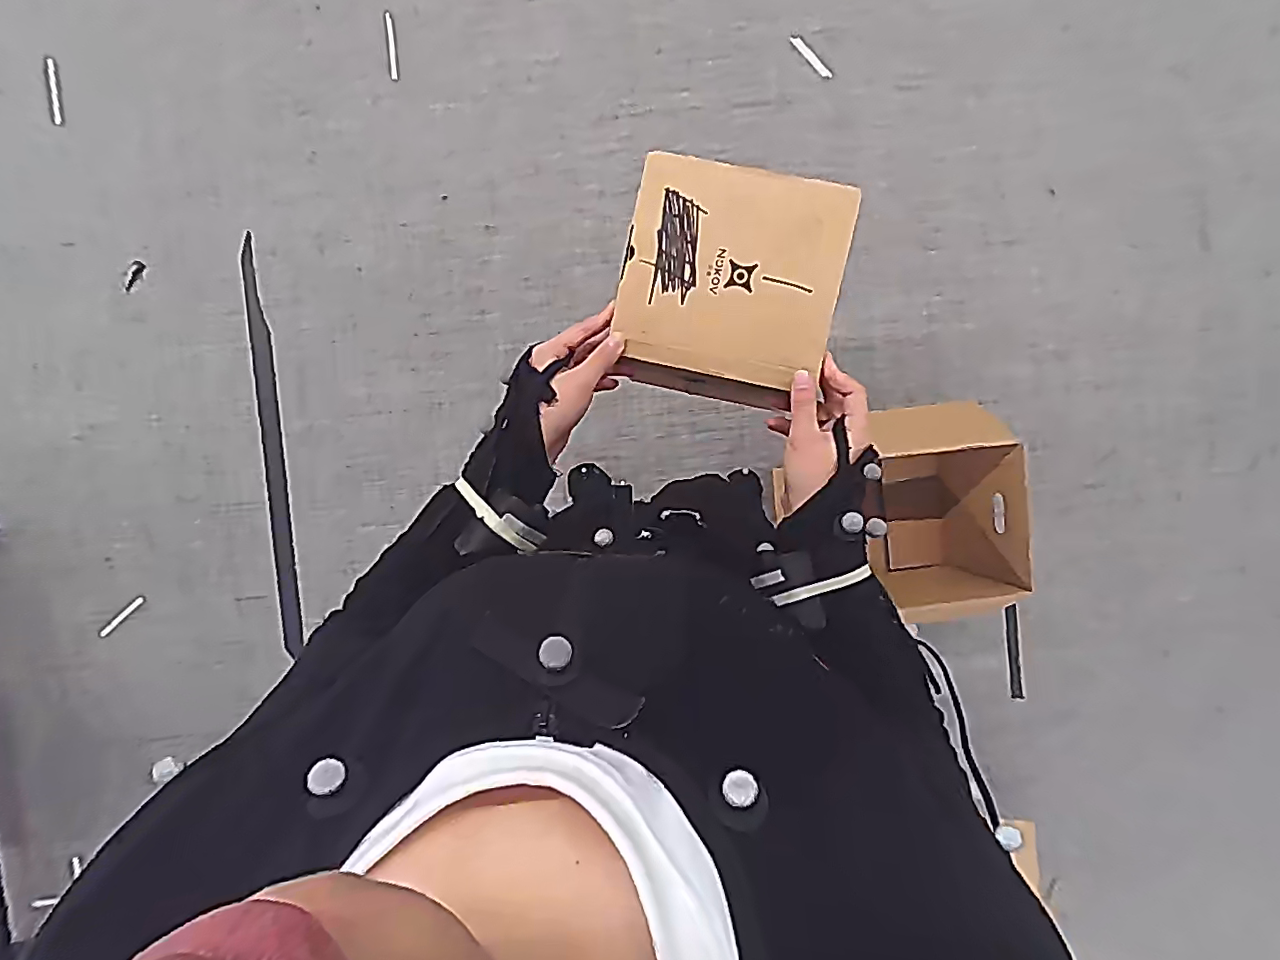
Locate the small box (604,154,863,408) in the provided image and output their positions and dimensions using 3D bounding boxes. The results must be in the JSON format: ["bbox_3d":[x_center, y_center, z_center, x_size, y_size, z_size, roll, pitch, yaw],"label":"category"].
[{"bbox_3d":[0.080,-0.167,0.509,0.179,0.176,0.168,13,94,5],"label":"small box"}]
